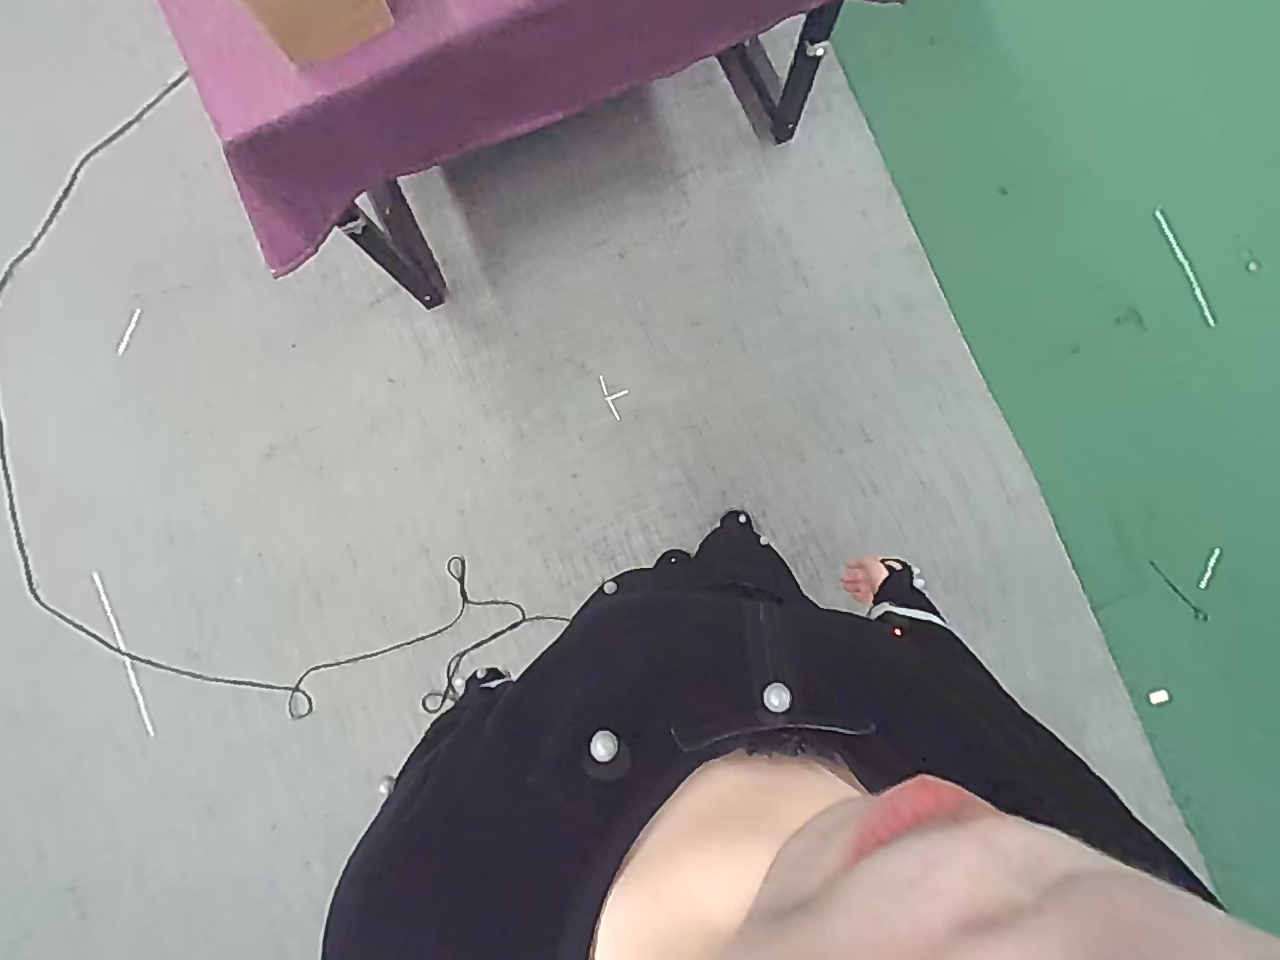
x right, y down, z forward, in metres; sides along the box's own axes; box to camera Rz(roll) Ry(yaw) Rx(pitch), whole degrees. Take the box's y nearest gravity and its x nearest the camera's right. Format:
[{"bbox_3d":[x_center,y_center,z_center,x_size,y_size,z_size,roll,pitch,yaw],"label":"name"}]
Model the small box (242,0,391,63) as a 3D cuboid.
[{"bbox_3d":[-0.490,-0.742,0.755,0.179,0.176,0.168,-25,86,-2],"label":"small box"}]
